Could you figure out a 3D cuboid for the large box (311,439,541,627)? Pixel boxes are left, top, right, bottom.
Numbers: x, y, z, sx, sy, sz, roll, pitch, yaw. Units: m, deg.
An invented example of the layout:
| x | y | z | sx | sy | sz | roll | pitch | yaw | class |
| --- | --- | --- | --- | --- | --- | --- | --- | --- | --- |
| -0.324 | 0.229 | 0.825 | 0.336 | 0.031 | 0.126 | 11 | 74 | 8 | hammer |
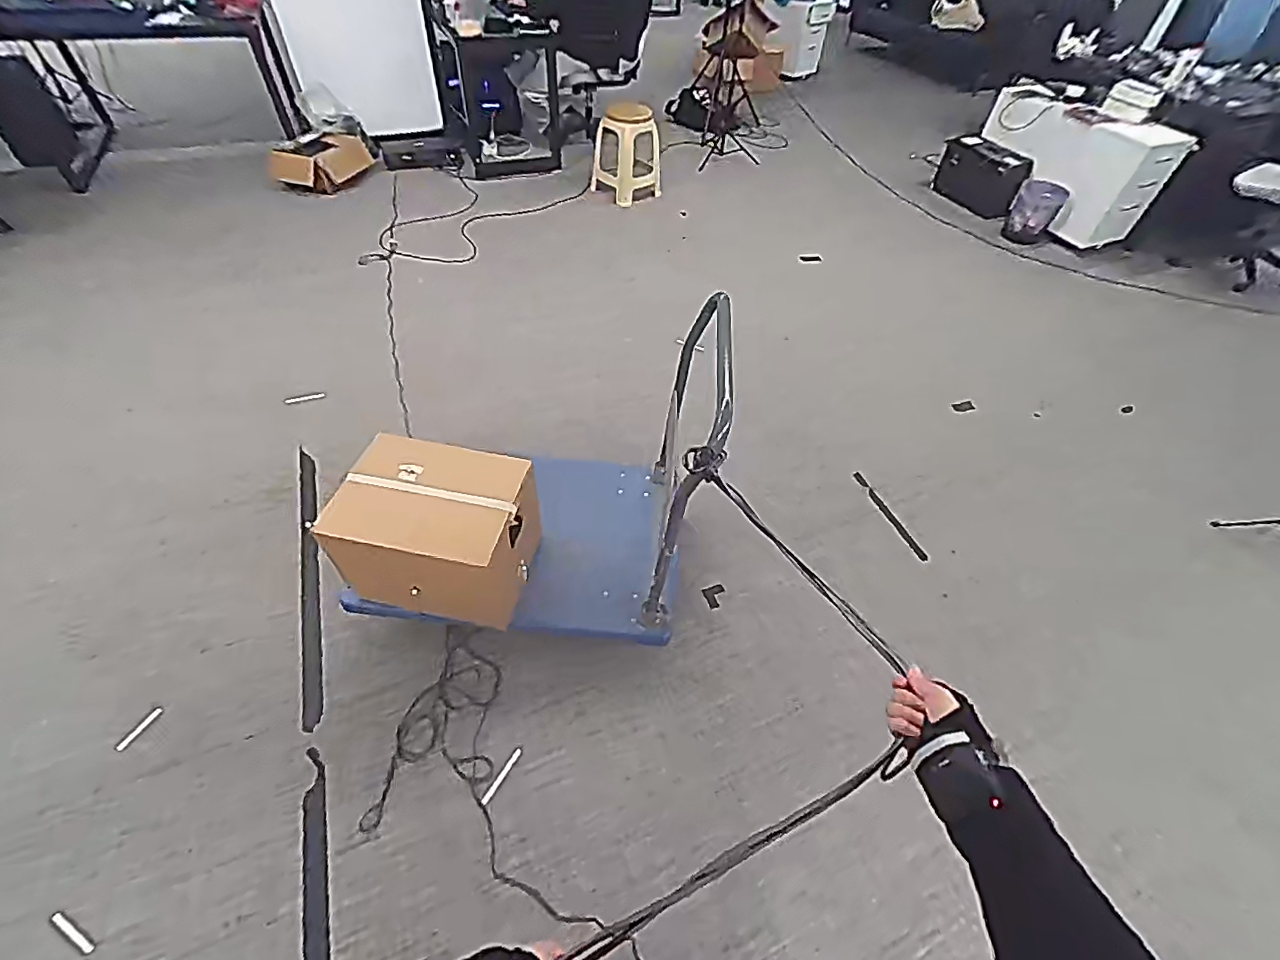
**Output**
| x | y | z | sx | sy | sz | roll | pitch | yaw | class |
| --- | --- | --- | --- | --- | --- | --- | --- | --- | --- |
| -0.493 | 0.137 | 1.352 | 0.408 | 0.320 | 0.320 | 10 | 49 | 5 | large box |
